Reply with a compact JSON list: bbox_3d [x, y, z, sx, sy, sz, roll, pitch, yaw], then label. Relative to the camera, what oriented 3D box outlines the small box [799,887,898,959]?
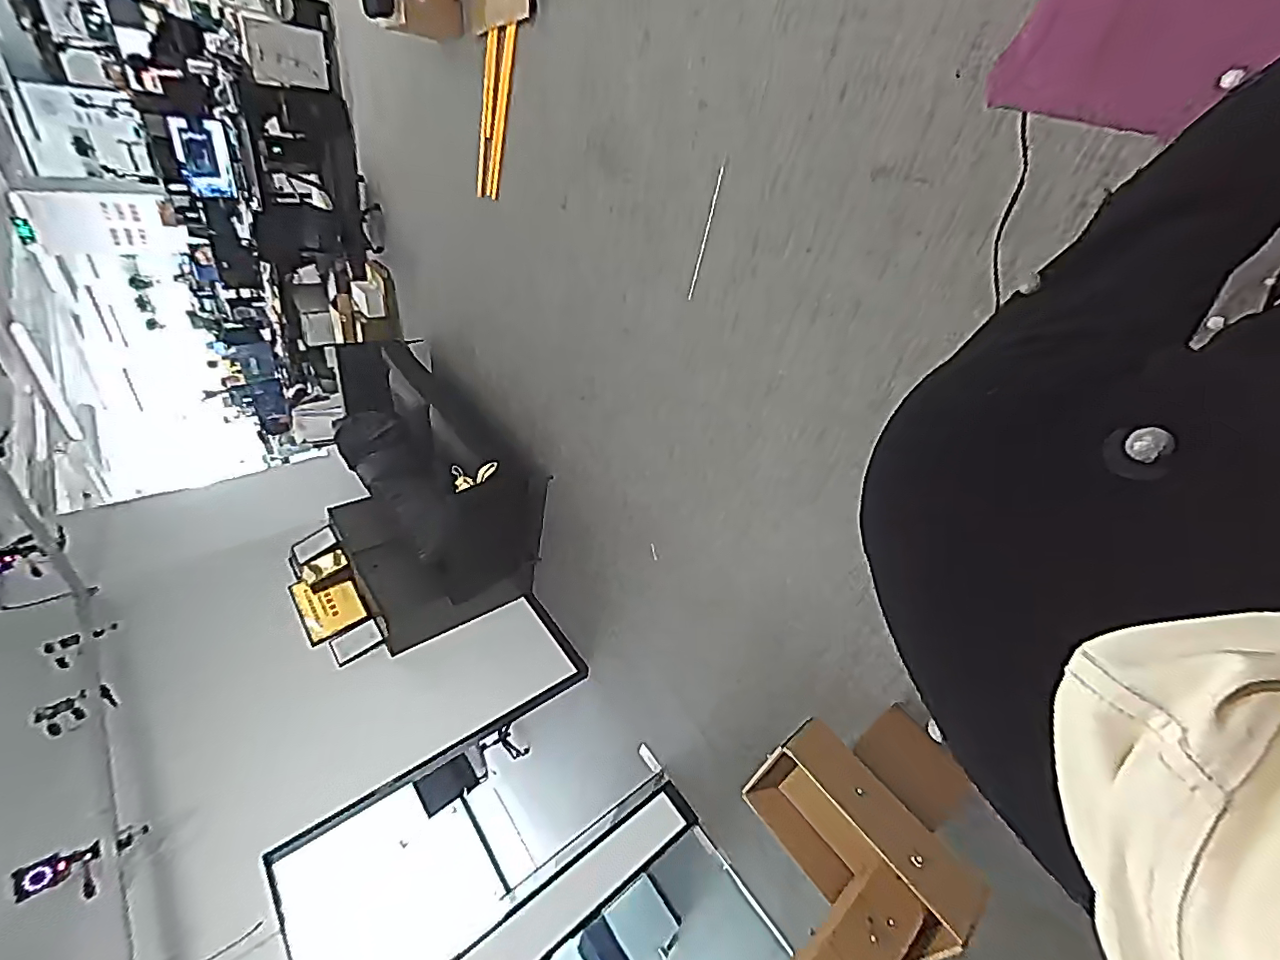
[{"bbox_3d":[0.592,1.305,1.530,0.168,0.176,0.179,46,138,27],"label":"small box"}]

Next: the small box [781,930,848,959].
[{"bbox_3d":[0.468,1.350,1.435,0.168,0.176,0.179,47,138,27],"label":"small box"}]

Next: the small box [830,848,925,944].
[{"bbox_3d":[0.717,1.258,1.626,0.168,0.176,0.179,45,137,29],"label":"small box"}]
